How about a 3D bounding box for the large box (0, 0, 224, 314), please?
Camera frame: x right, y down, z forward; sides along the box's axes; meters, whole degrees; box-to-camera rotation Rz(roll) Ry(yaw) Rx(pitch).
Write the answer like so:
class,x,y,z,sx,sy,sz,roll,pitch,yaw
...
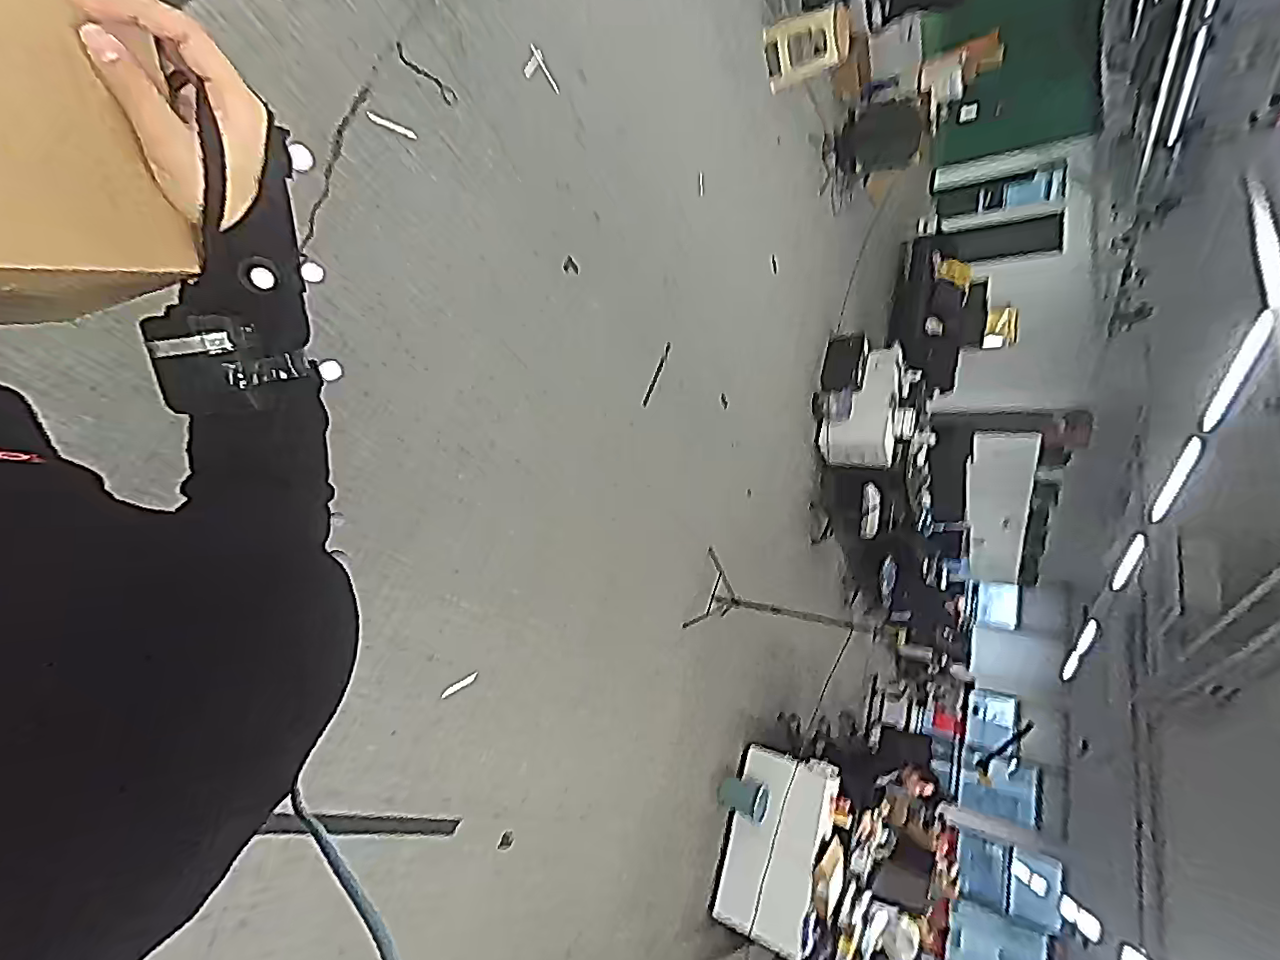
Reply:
class,x,y,z,sx,sy,sz,roll,pitch,yaw
large box,-0.499,-0.233,0.211,0.408,0.320,0.320,-28,118,-55
